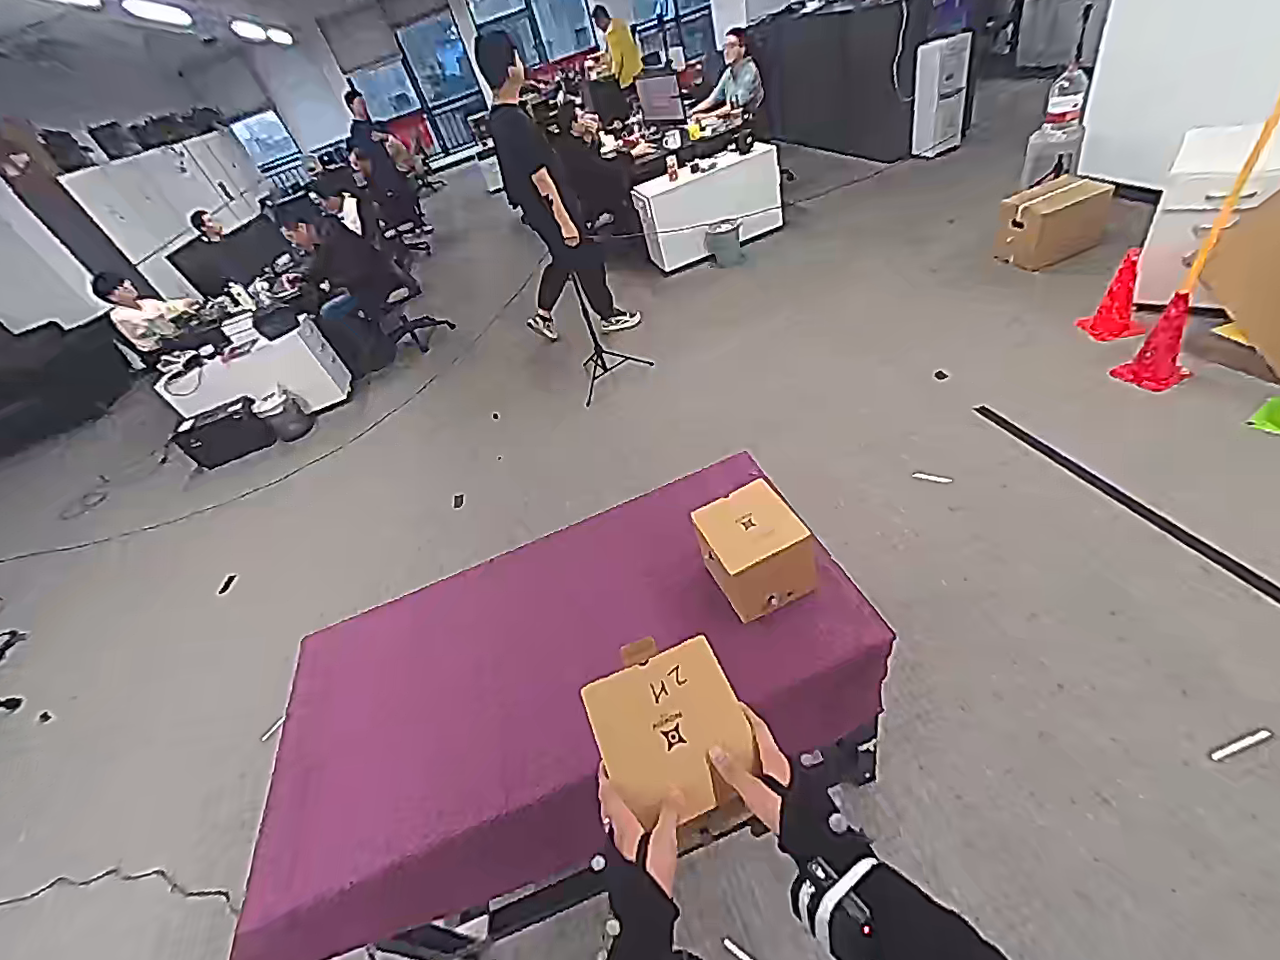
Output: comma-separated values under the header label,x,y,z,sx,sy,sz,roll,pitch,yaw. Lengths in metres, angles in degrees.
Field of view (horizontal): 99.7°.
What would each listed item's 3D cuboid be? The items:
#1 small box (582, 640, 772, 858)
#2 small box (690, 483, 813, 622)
label,x,y,z,sx,sy,sz,roll,pitch,yaw
small box,0.046,0.335,0.666,0.168,0.176,0.179,-21,49,-9
small box,0.220,0.143,1.066,0.168,0.176,0.179,-26,40,-5
